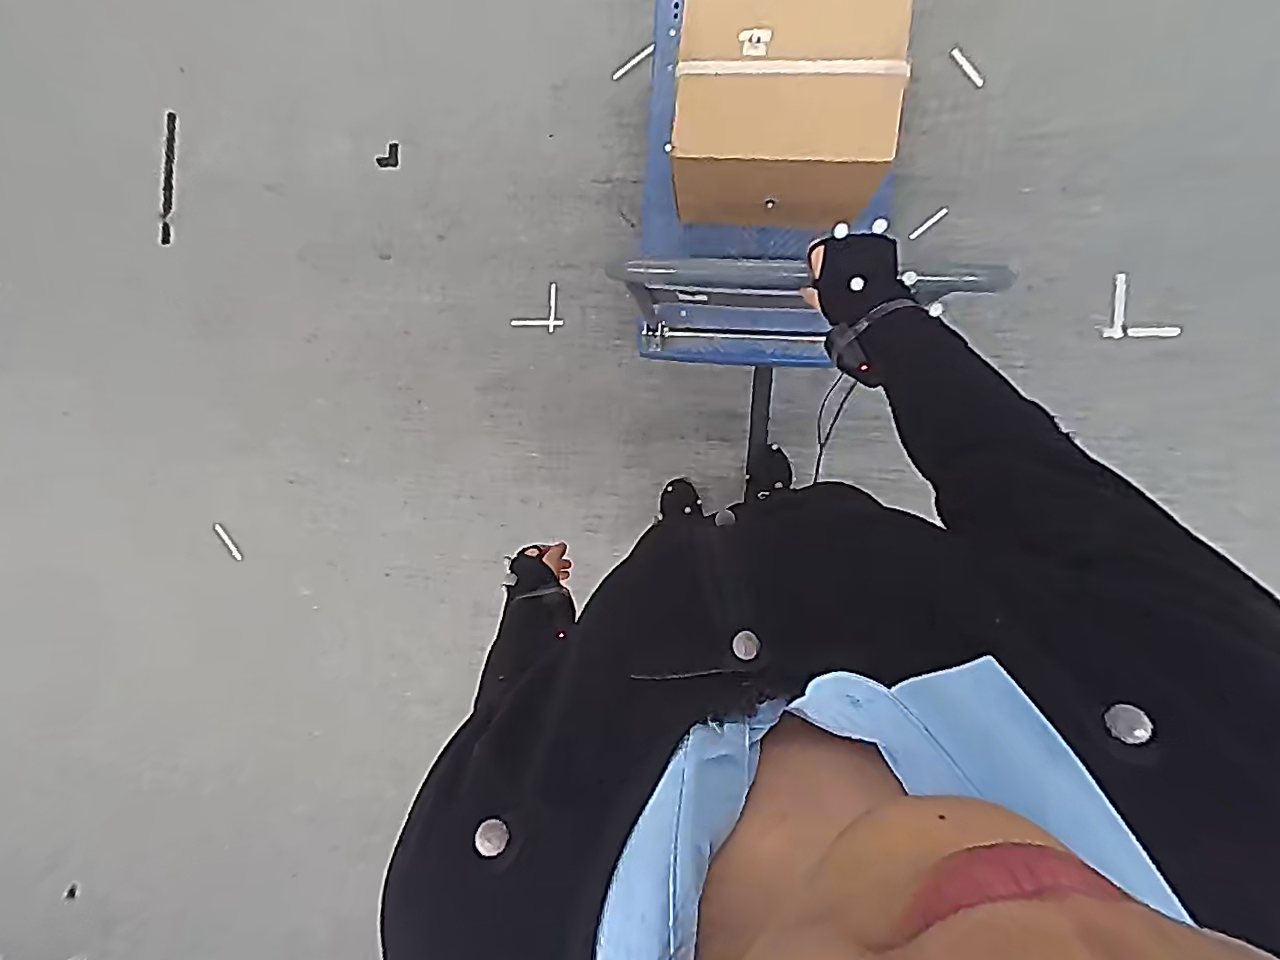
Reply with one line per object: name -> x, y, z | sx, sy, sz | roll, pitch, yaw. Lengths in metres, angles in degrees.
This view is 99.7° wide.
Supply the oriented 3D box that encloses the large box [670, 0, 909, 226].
large box -> 0.286, -0.740, 1.115 | 0.408, 0.320, 0.320 | 5, 92, 8
